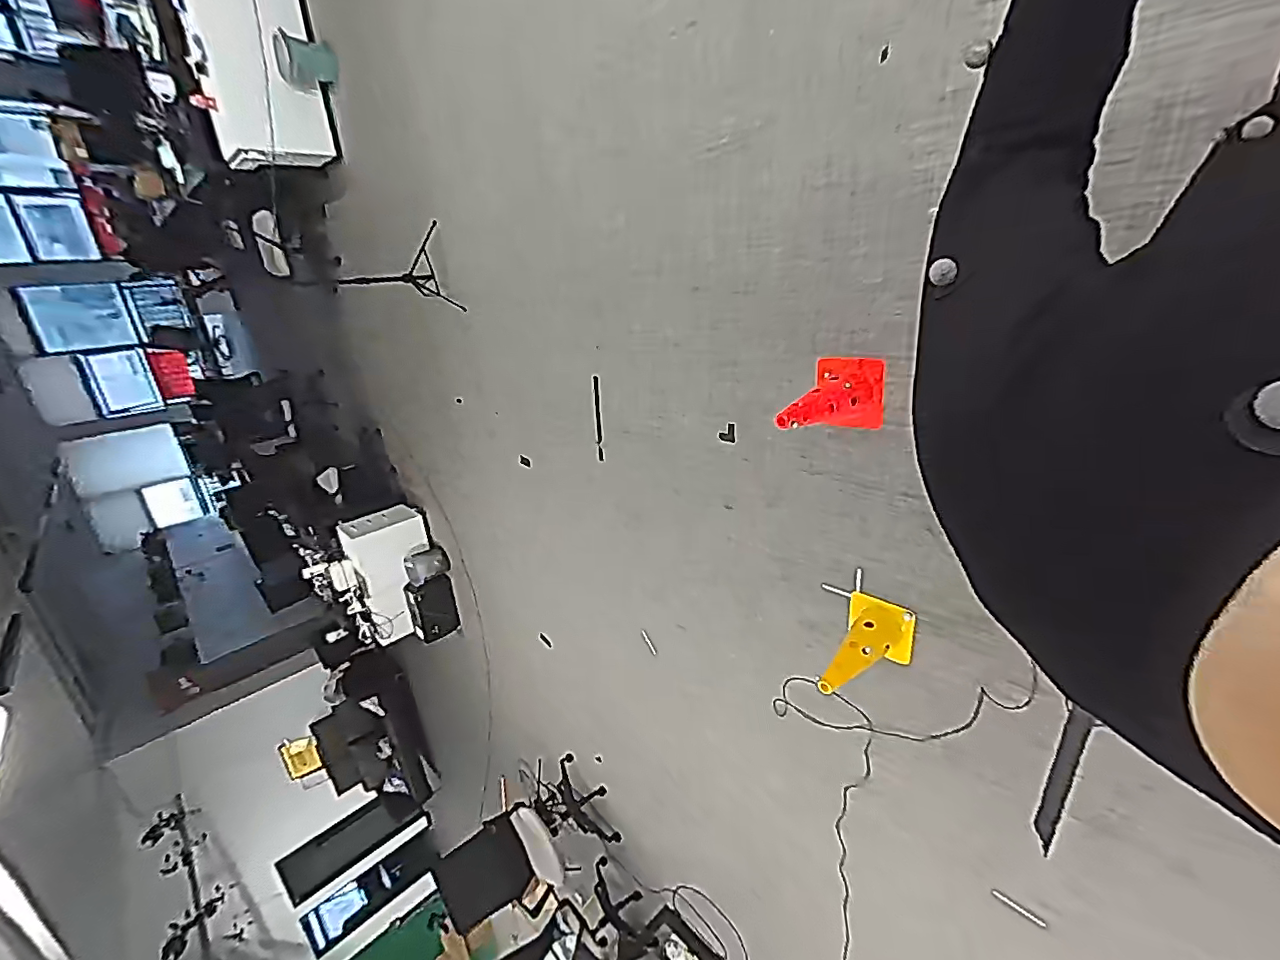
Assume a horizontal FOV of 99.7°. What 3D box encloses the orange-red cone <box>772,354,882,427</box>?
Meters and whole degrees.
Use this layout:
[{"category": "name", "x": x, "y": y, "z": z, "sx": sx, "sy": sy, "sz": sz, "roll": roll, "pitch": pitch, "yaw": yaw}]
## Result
[{"category": "orange-red cone", "x": 0.470, "y": -0.203, "z": 1.443, "sx": 0.198, "sy": 0.360, "sz": 0.199, "roll": 16, "pitch": 121, "yaw": 45}]
